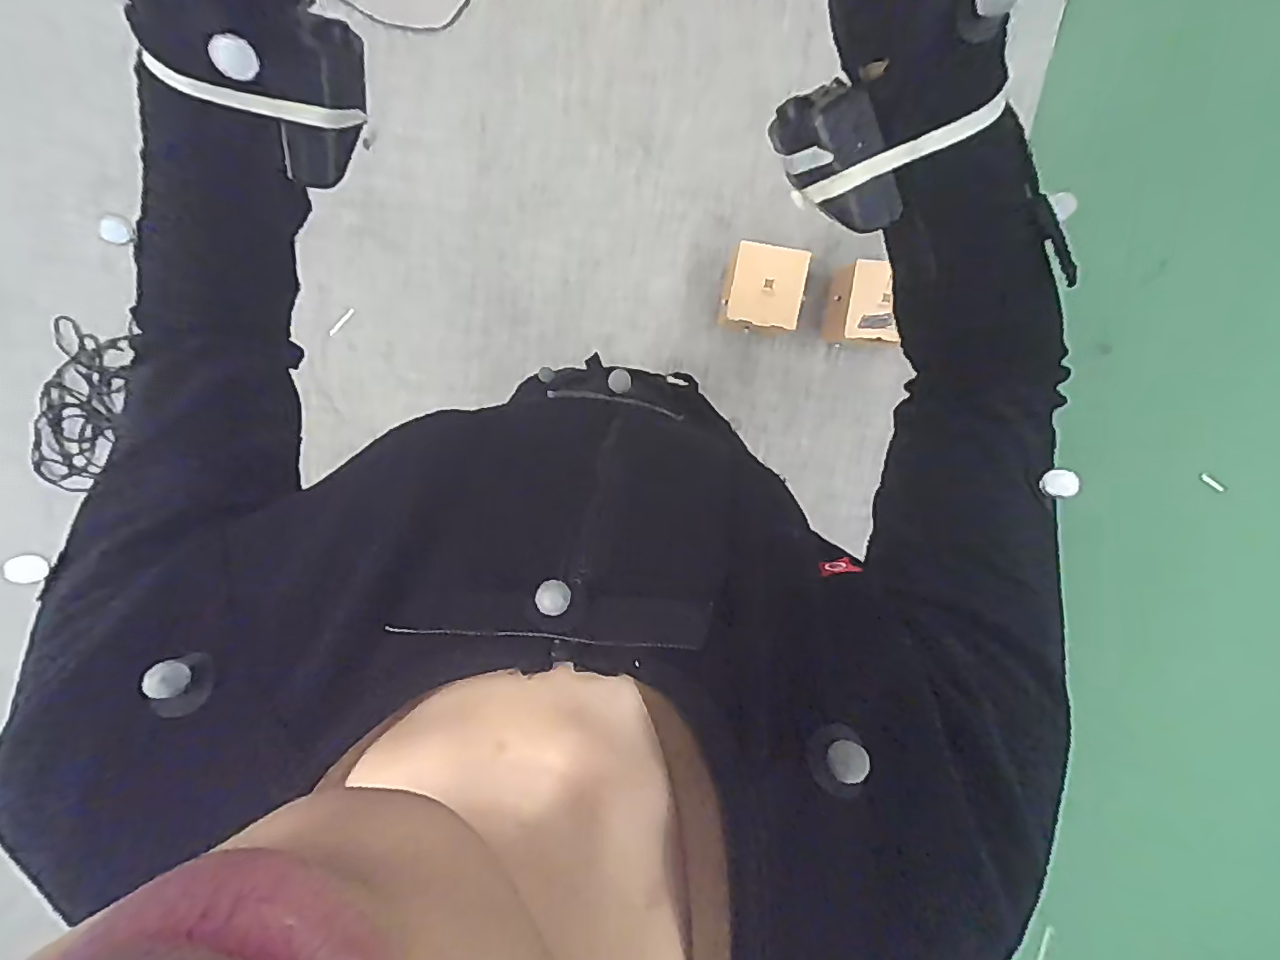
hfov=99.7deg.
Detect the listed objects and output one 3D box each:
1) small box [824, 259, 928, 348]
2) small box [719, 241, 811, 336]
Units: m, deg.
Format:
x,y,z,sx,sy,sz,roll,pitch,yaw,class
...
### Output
x,y,z,sx,sy,sz,roll,pitch,yaw,class
0.558,-0.416,1.304,0.168,0.176,0.179,6,100,0,small box
0.292,-0.453,1.303,0.168,0.176,0.179,9,101,-1,small box
